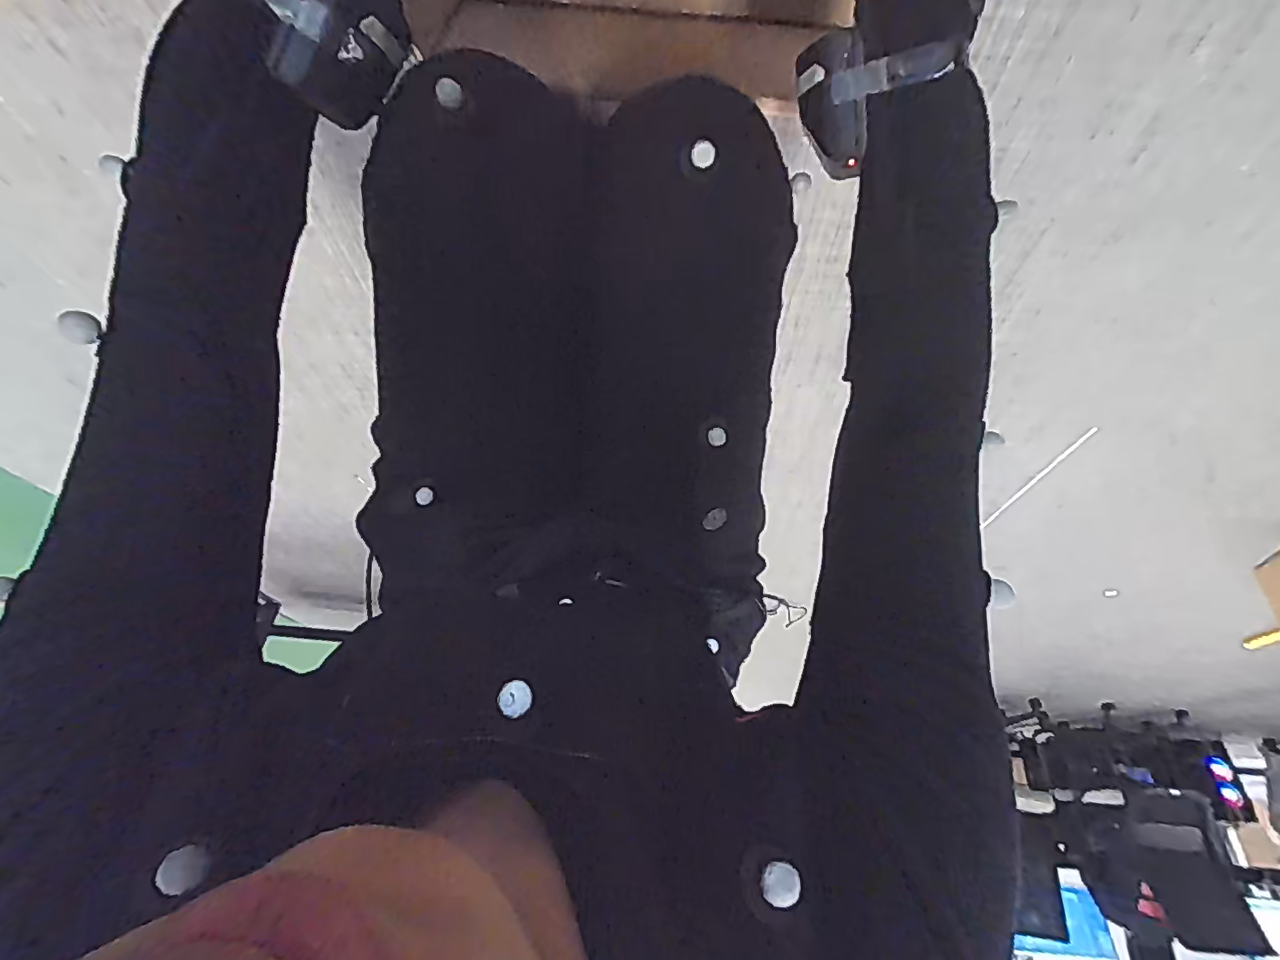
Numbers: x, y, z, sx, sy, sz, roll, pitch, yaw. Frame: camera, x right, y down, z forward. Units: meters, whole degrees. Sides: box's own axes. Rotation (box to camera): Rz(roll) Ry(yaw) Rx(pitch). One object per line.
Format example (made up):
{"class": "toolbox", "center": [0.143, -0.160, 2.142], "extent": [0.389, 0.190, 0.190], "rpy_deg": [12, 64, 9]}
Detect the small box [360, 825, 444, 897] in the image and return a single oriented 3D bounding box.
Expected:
{"class": "small box", "center": [-0.740, 1.191, 1.701], "extent": [0.168, 0.176, 0.179], "rpy_deg": [3, 149, 5]}
